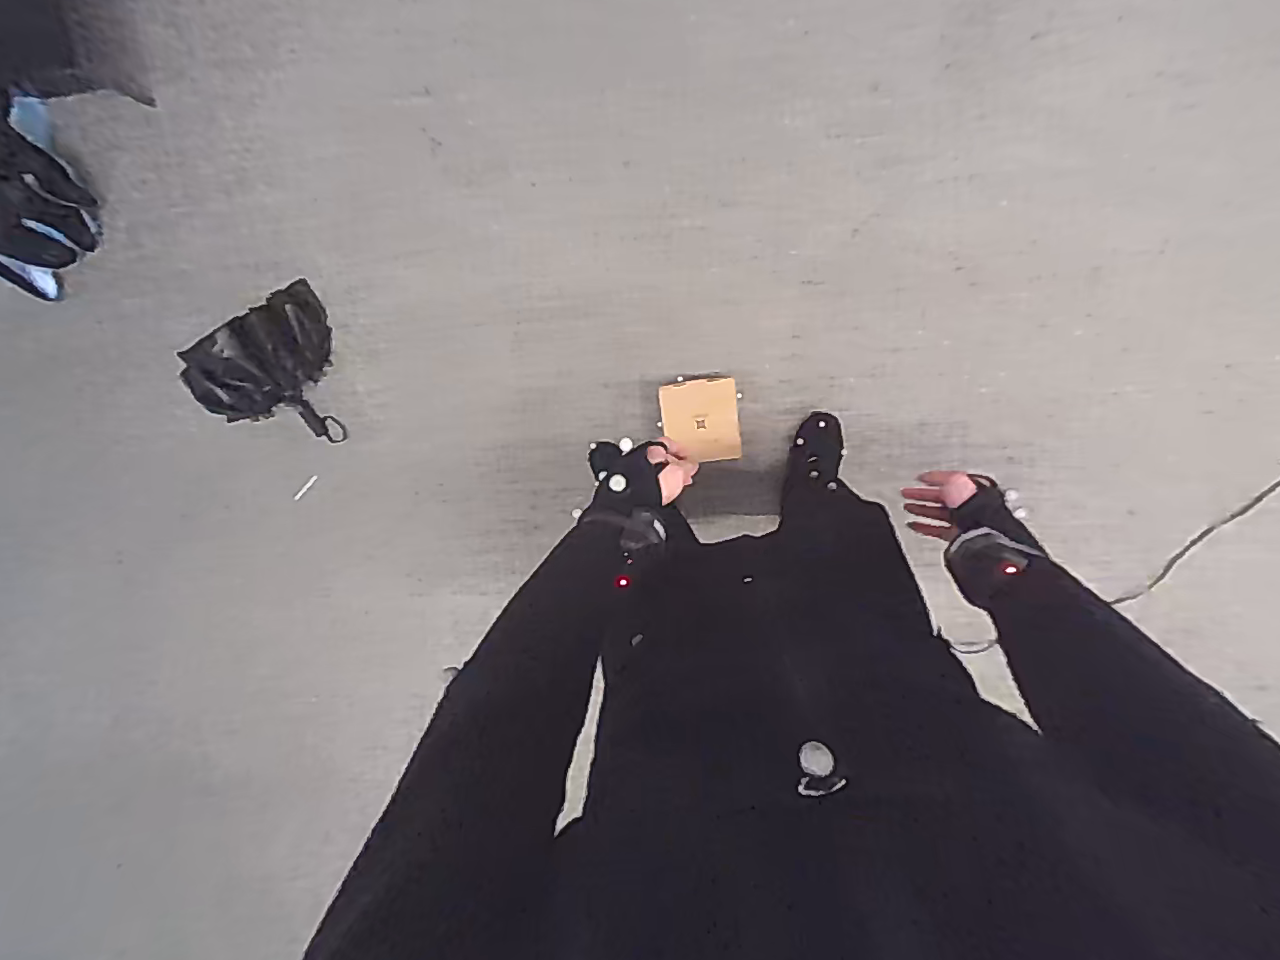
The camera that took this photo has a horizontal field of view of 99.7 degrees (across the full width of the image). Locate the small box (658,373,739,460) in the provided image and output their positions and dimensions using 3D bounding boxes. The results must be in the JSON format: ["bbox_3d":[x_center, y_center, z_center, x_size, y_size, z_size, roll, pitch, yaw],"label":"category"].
[{"bbox_3d":[0.136,-0.152,1.247,0.168,0.176,0.179,-6,103,9],"label":"small box"}]
